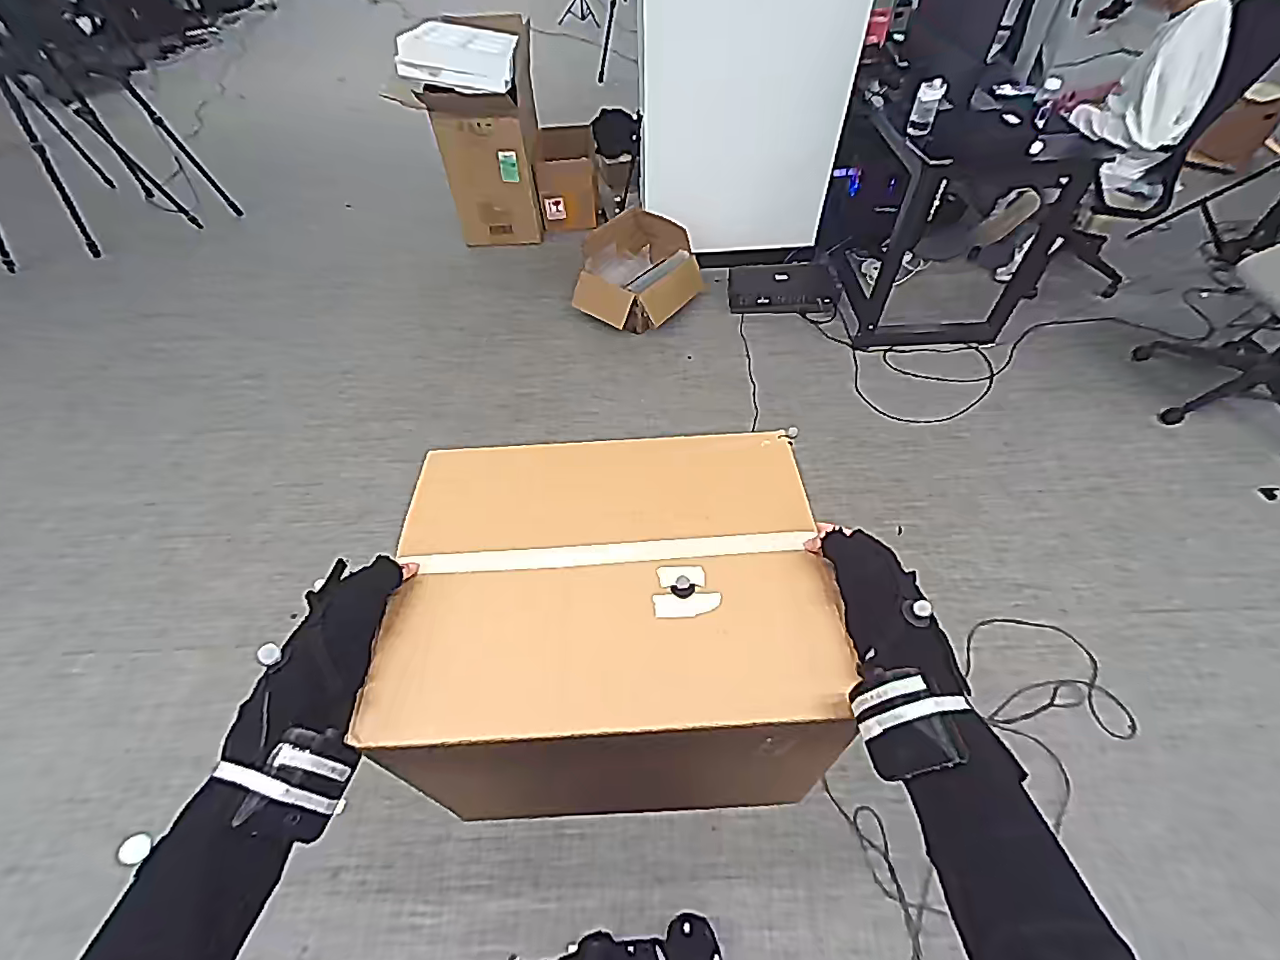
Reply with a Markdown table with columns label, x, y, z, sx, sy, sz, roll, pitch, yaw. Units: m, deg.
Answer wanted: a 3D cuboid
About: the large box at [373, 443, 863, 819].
| label | x | y | z | sx | sy | sz | roll | pitch | yaw |
| --- | --- | --- | --- | --- | --- | --- | --- | --- | --- |
| large box | -0.021 | 0.180 | 0.639 | 0.408 | 0.320 | 0.320 | -3 | 49 | 0 |
